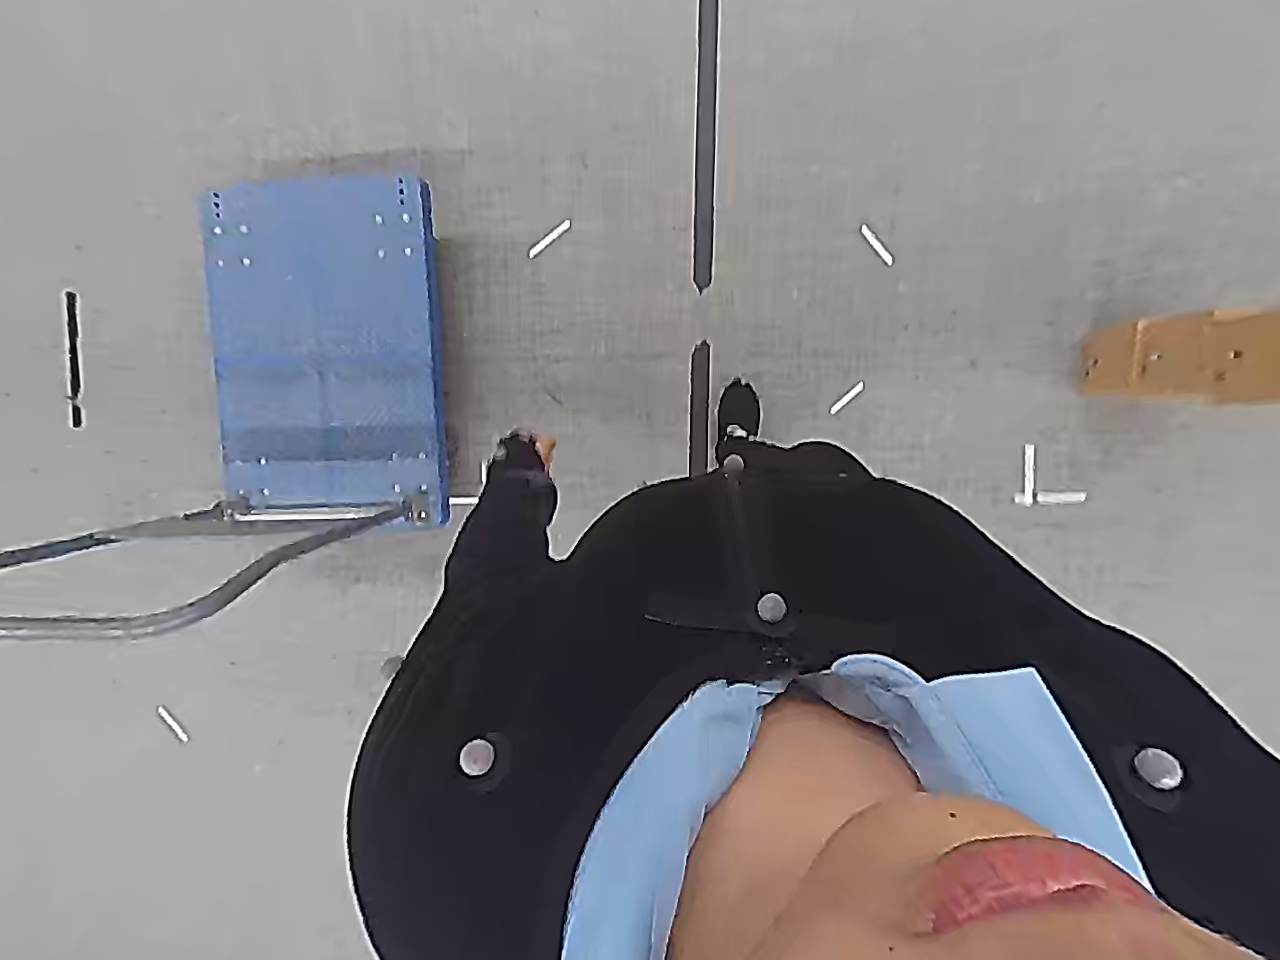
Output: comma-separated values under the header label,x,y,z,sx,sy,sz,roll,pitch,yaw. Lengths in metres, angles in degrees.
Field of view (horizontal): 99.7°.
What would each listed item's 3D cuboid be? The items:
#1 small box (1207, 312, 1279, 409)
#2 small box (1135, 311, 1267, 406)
label,x,y,z,sx,sy,sz,roll,pitch,yaw
small box,1.186,-0.220,0.965,0.179,0.176,0.168,-7,94,6
small box,1.200,-0.246,1.125,0.179,0.176,0.168,4,94,5
